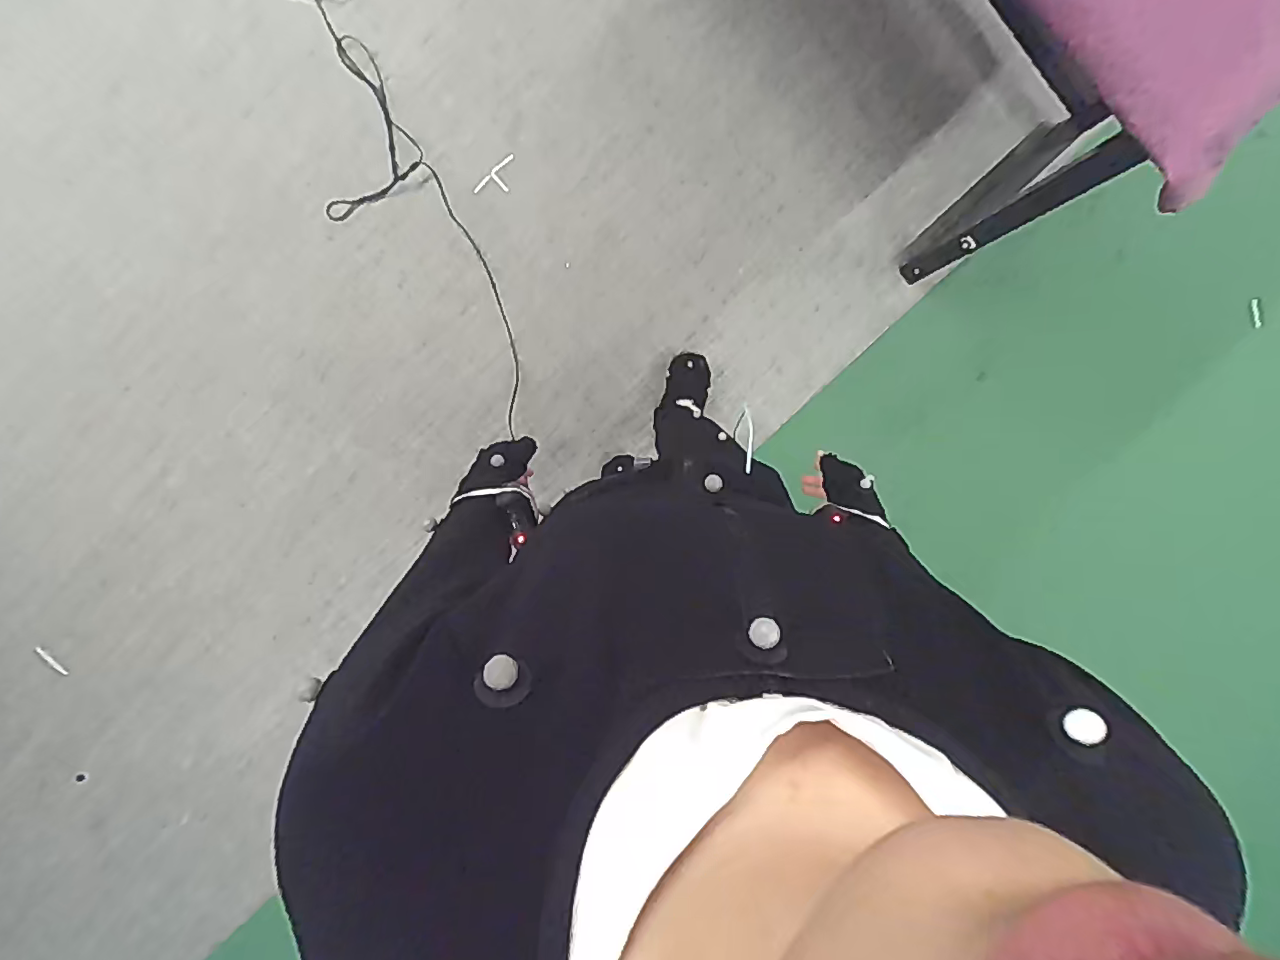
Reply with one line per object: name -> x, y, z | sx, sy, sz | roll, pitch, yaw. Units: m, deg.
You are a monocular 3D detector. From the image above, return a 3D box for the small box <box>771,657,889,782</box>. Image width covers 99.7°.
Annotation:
small box -> 0.438, 0.555, 1.279 | 0.179, 0.176, 0.168 | -42, 94, 3
